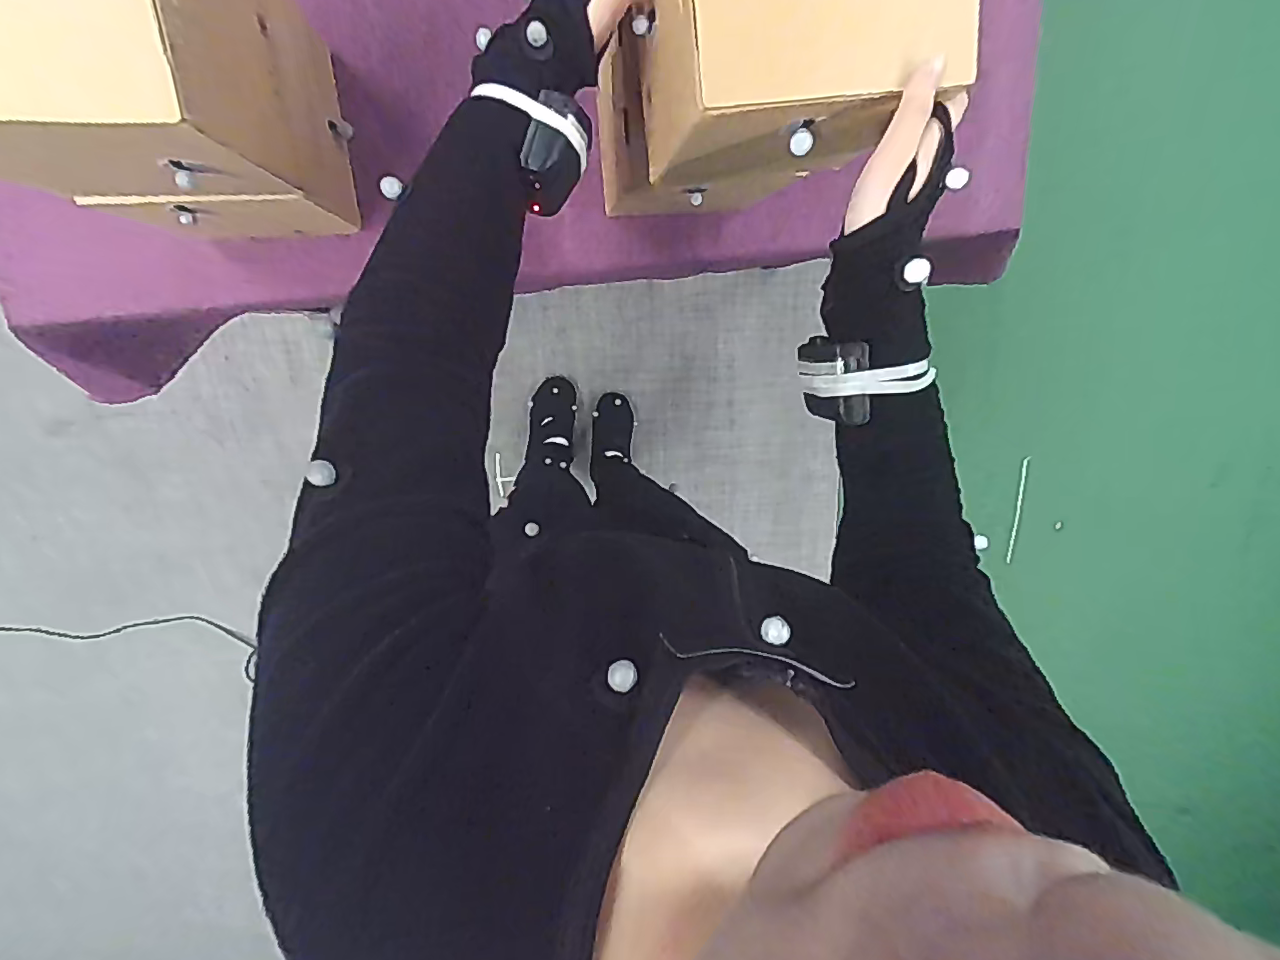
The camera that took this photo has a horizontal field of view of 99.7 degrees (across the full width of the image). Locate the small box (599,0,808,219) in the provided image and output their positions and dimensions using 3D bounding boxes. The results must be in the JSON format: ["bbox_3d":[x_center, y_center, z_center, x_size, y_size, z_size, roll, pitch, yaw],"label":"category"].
[{"bbox_3d":[0.053,-0.374,0.556,0.179,0.176,0.168,-7,107,-9],"label":"small box"}]

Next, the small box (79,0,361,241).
[{"bbox_3d":[-0.375,-0.326,0.487,0.168,0.176,0.179,-6,106,-9],"label":"small box"}]

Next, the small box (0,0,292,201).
[{"bbox_3d":[-0.345,-0.281,0.333,0.179,0.176,0.168,-5,106,-9],"label":"small box"}]
